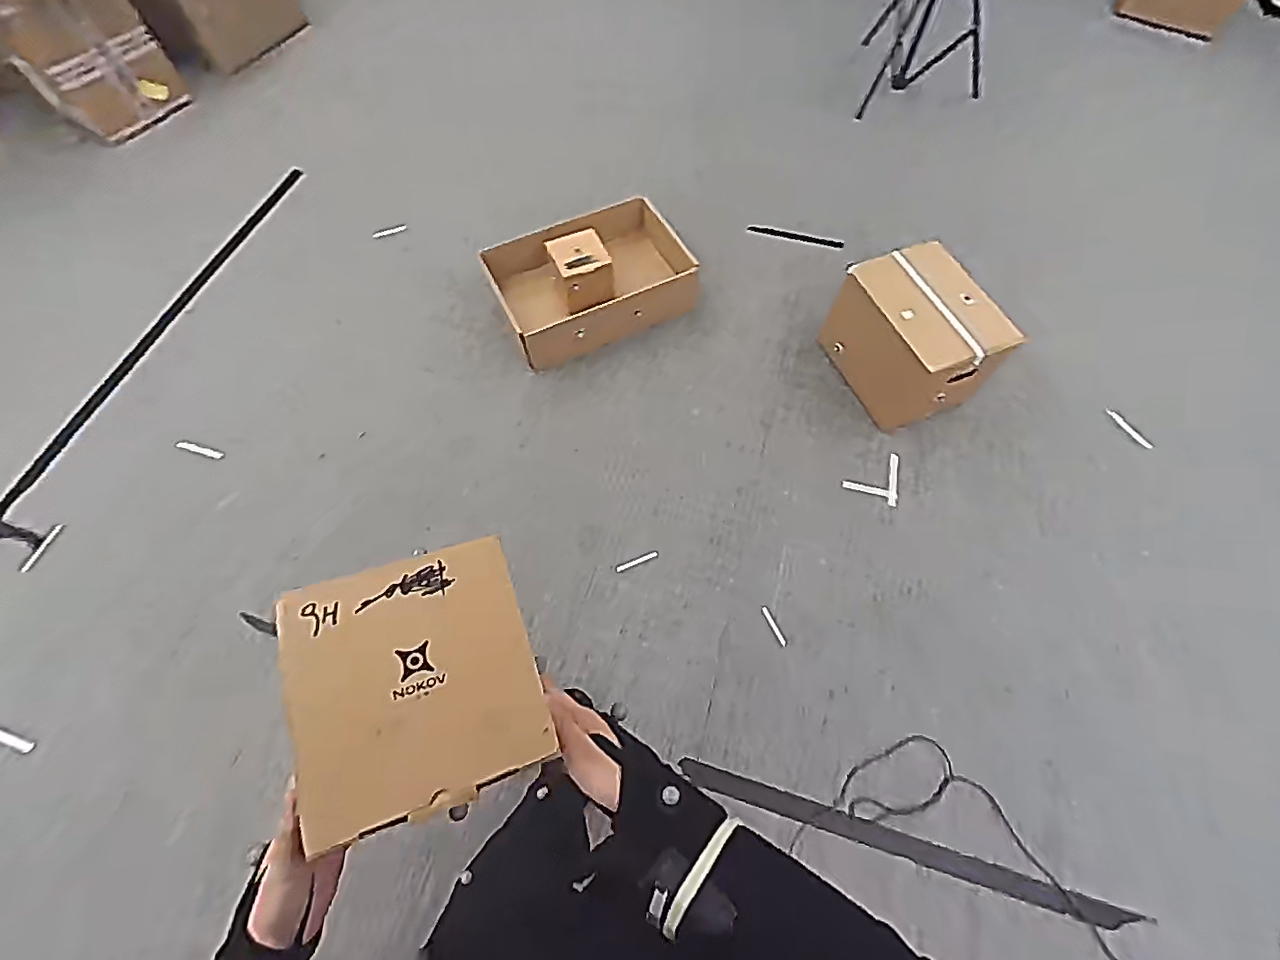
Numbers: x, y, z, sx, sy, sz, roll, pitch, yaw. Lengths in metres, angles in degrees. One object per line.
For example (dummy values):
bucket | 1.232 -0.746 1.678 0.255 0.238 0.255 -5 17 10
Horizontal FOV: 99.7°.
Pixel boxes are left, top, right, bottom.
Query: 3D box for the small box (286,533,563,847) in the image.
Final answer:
small box | -0.172 0.170 0.460 0.168 0.176 0.179 -14 68 -20
